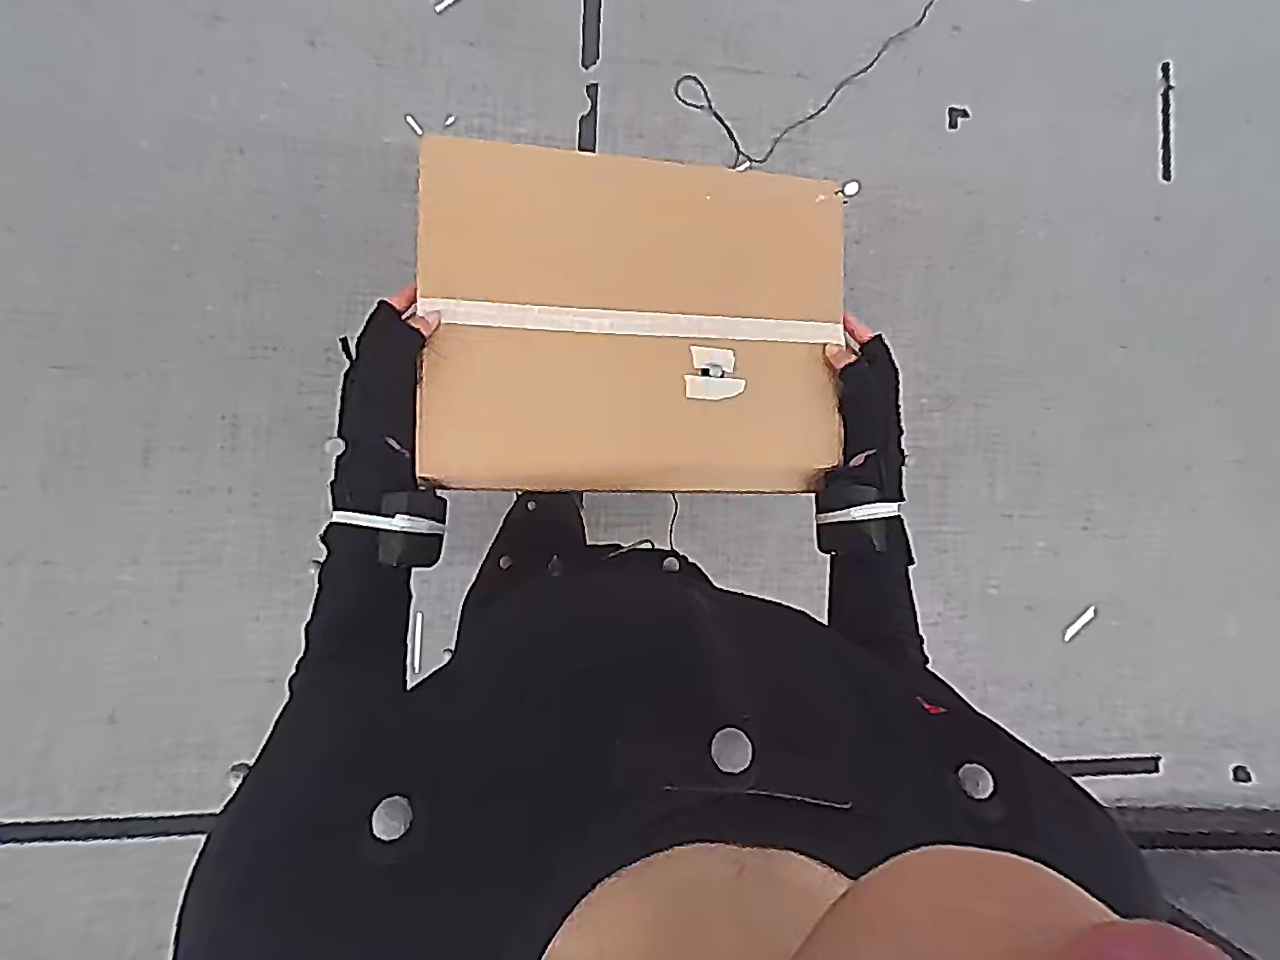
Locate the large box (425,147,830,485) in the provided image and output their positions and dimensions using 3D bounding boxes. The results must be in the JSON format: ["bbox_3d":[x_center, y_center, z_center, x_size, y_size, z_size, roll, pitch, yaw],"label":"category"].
[{"bbox_3d":[-0.027,-0.153,0.672,0.408,0.320,0.320,0,90,-11],"label":"large box"}]
